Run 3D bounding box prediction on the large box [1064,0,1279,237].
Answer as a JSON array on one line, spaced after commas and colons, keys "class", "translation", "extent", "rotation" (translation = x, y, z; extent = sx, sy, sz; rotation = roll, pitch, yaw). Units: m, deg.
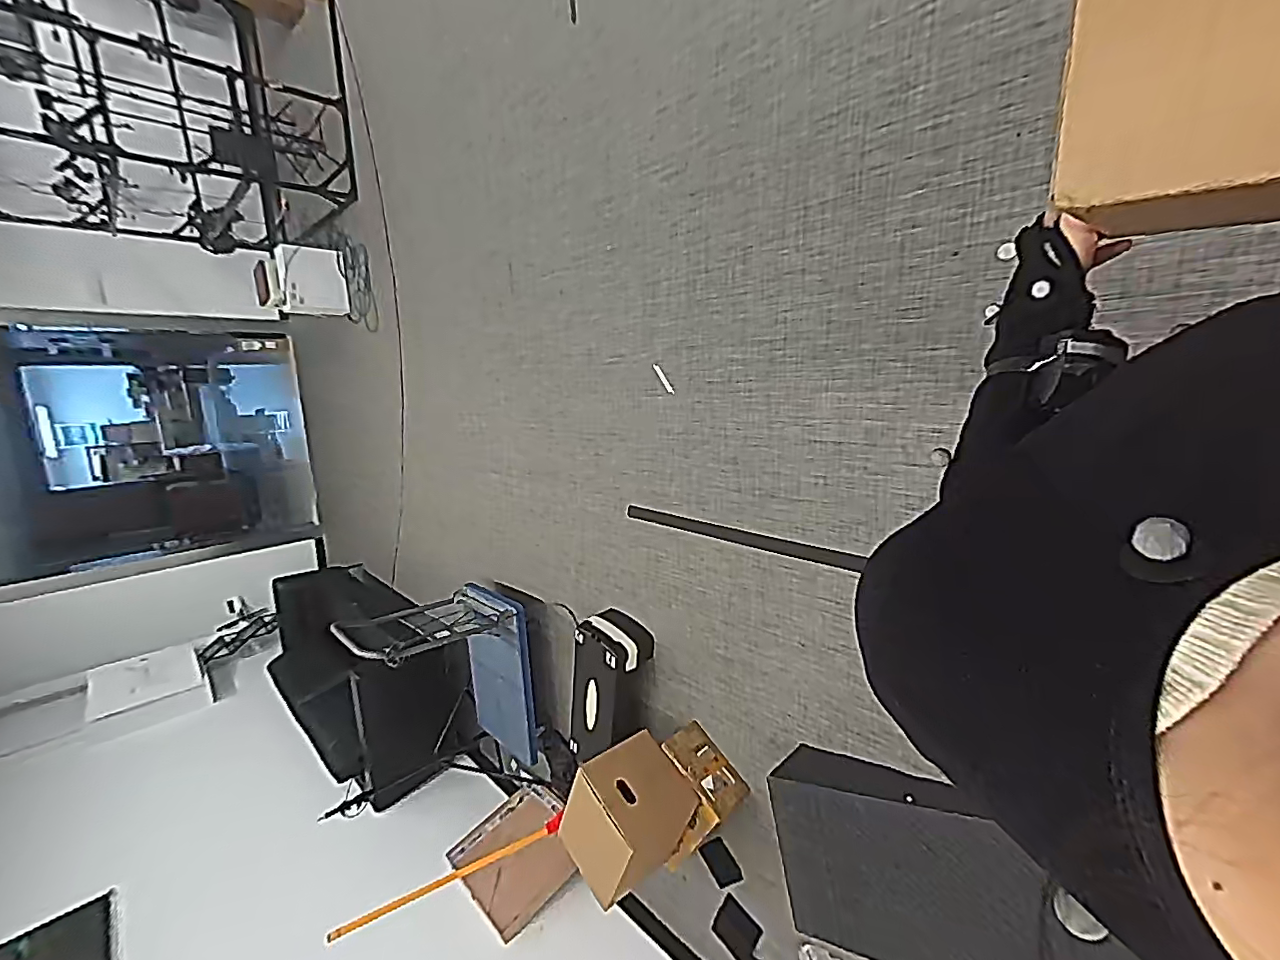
[{"class": "large box", "translation": [0.437, -0.295, 0.199], "extent": [0.408, 0.320, 0.320], "rotation": [10, 113, 41]}]
